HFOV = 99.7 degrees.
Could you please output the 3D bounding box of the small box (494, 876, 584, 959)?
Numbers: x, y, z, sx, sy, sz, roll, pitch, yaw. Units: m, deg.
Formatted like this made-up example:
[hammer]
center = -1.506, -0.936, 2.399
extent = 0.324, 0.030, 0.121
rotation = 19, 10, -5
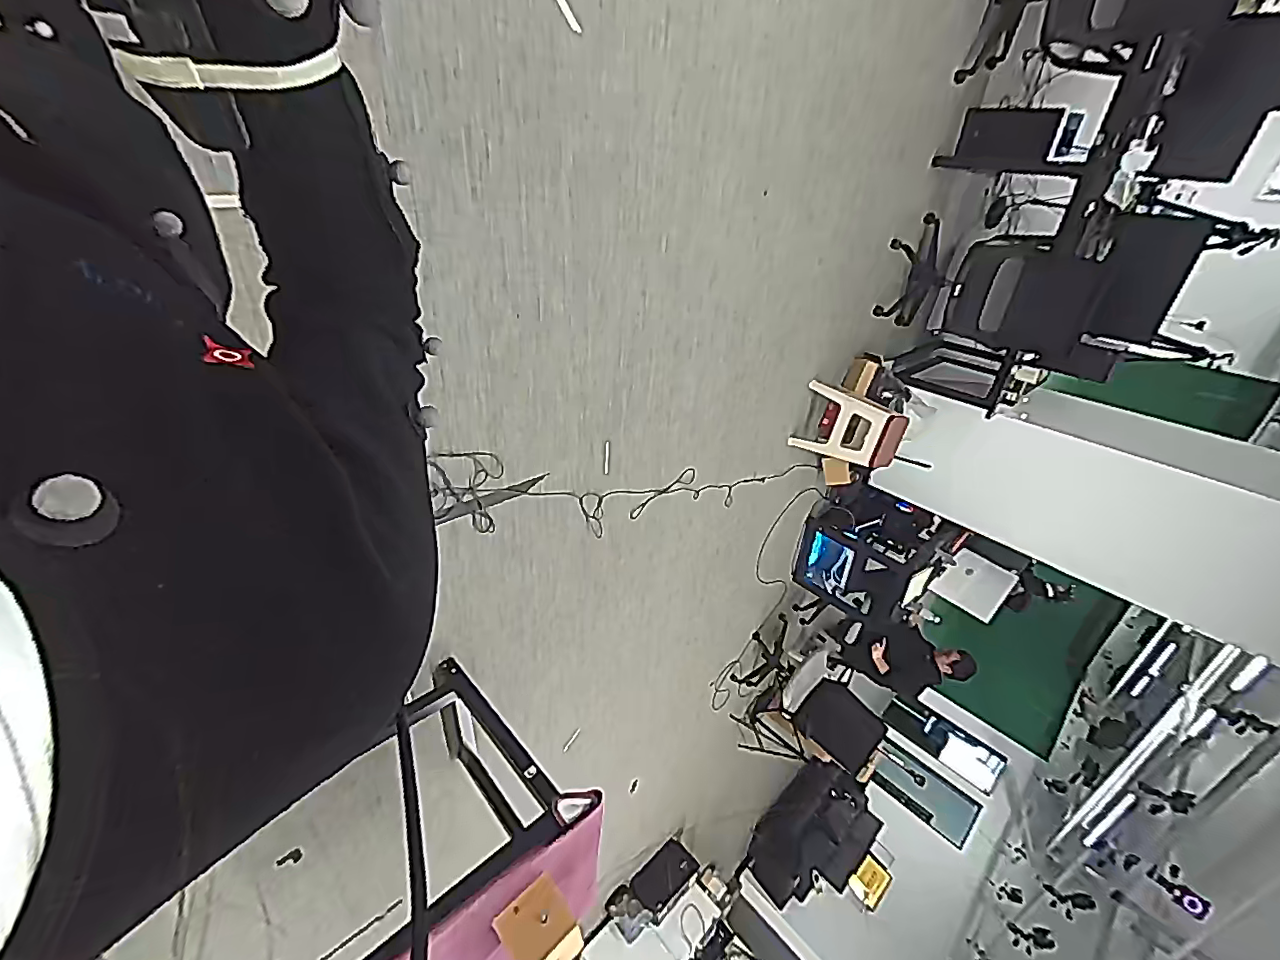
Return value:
[small box]
center = -0.272, 1.218, 1.452
extent = 0.168, 0.176, 0.179
rotation = -30, 133, -33
